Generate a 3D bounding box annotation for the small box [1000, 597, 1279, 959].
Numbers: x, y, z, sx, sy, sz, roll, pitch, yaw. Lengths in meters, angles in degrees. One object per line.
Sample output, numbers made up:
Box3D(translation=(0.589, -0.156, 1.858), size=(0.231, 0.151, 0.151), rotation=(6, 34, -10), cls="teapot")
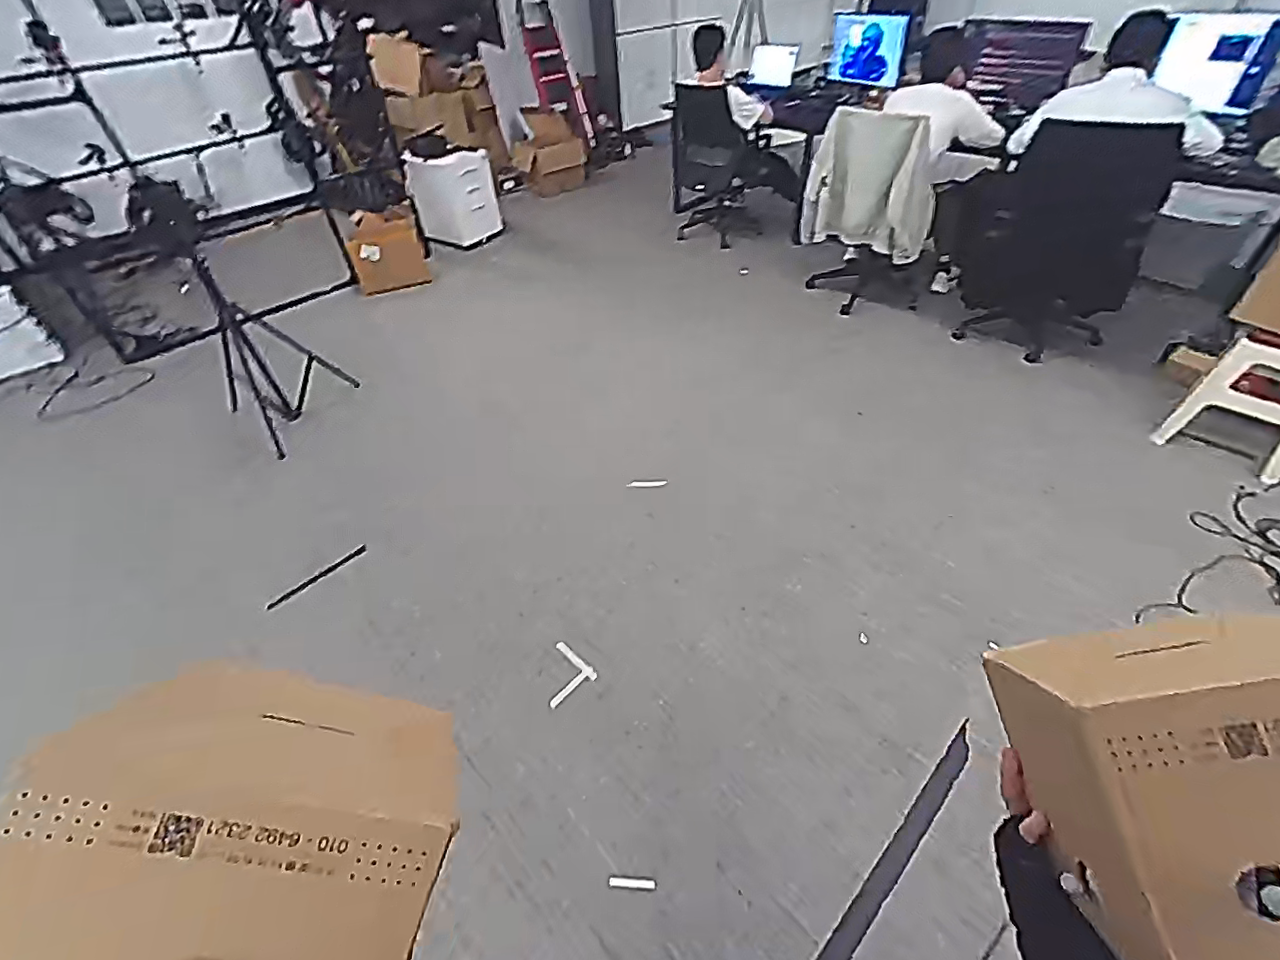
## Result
Box3D(translation=(0.340, 0.168, 0.308), size=(0.168, 0.179, 0.176), rotation=(-15, 78, 16), cls="small box")
